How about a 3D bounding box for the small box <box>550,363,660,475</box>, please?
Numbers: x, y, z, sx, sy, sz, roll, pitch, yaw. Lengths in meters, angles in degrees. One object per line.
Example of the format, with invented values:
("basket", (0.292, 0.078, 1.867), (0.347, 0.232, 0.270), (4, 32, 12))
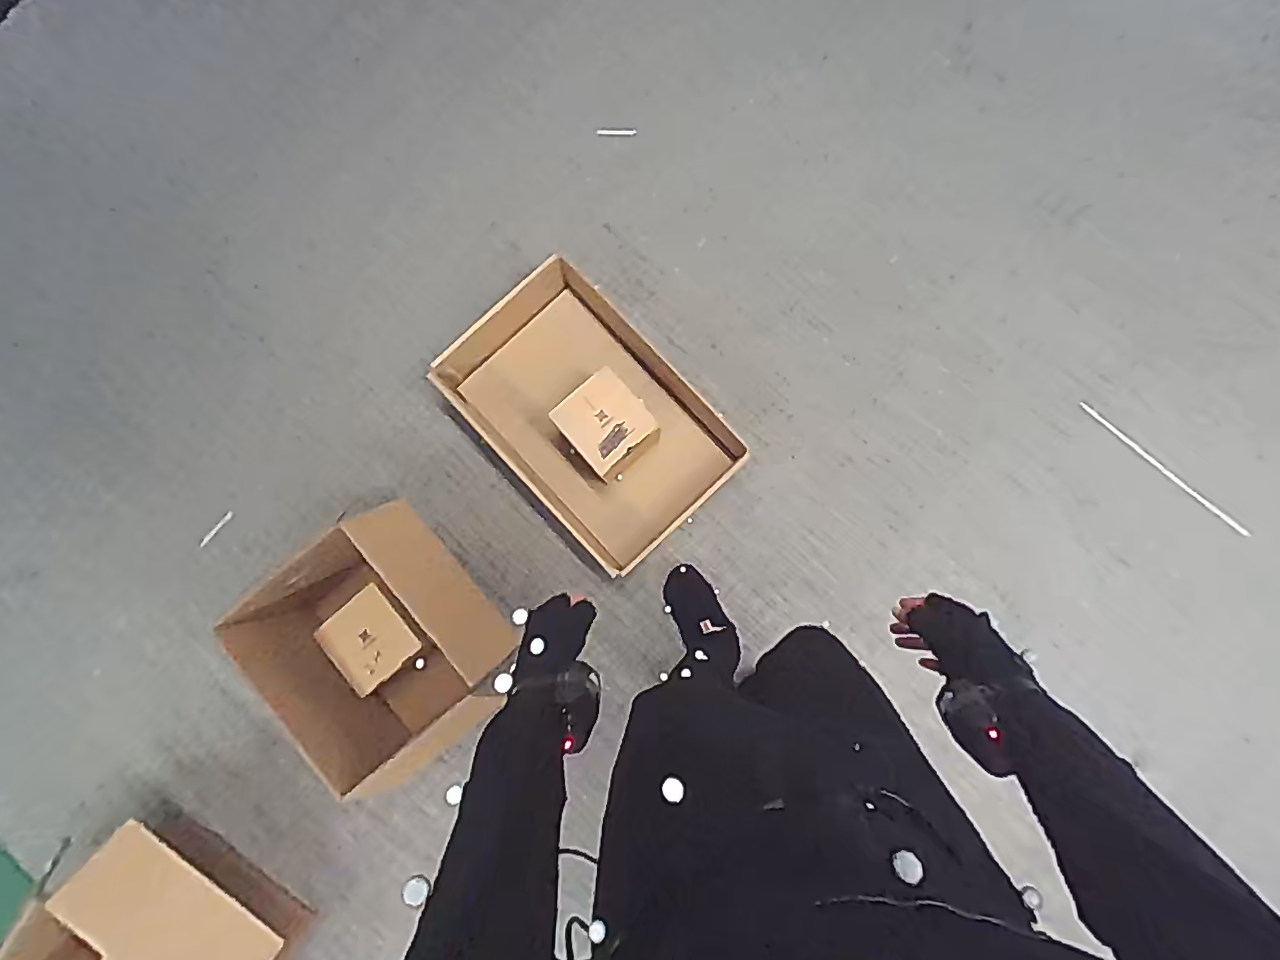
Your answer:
("small box", (-0.069, -0.124, 1.198), (0.168, 0.176, 0.179), (-41, 84, -2))
